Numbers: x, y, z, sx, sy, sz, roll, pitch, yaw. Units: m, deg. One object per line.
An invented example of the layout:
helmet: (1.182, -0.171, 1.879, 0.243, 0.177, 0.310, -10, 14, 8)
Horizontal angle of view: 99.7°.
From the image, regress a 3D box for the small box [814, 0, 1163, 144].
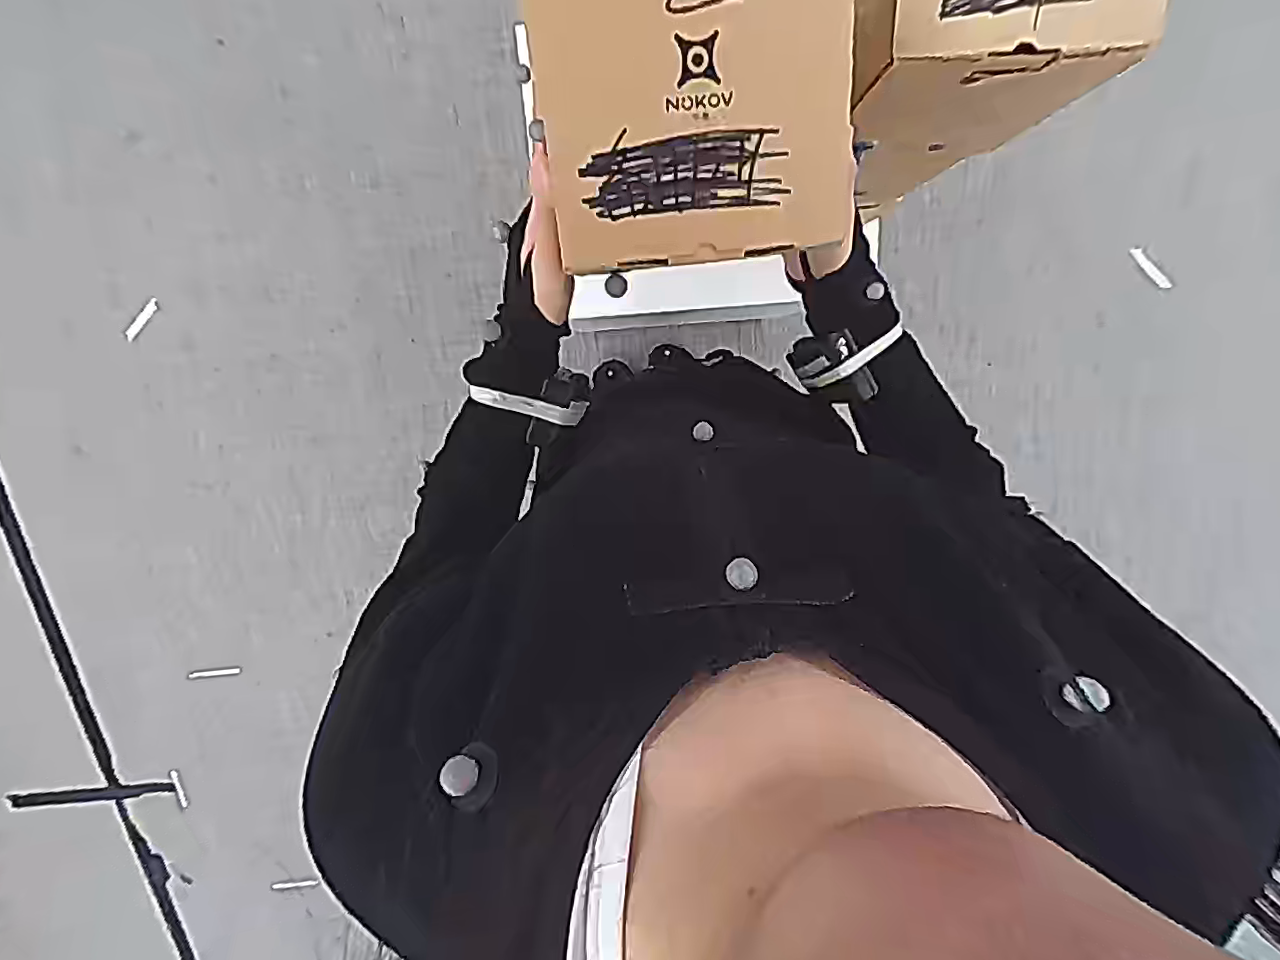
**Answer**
small box: (0.234, -0.367, 0.394, 0.168, 0.176, 0.179, -2, 102, 0)

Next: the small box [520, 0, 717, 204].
small box: (-0.019, -0.396, 0.550, 0.168, 0.176, 0.179, -6, 103, 0)

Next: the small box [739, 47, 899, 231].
small box: (0.228, -0.435, 0.714, 0.168, 0.176, 0.179, -4, 105, -1)

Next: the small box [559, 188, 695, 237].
small box: (-0.026, -0.436, 0.707, 0.168, 0.176, 0.179, -7, 104, 0)

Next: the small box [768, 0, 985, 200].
small box: (0.231, -0.407, 0.553, 0.168, 0.176, 0.179, -3, 104, 1)
